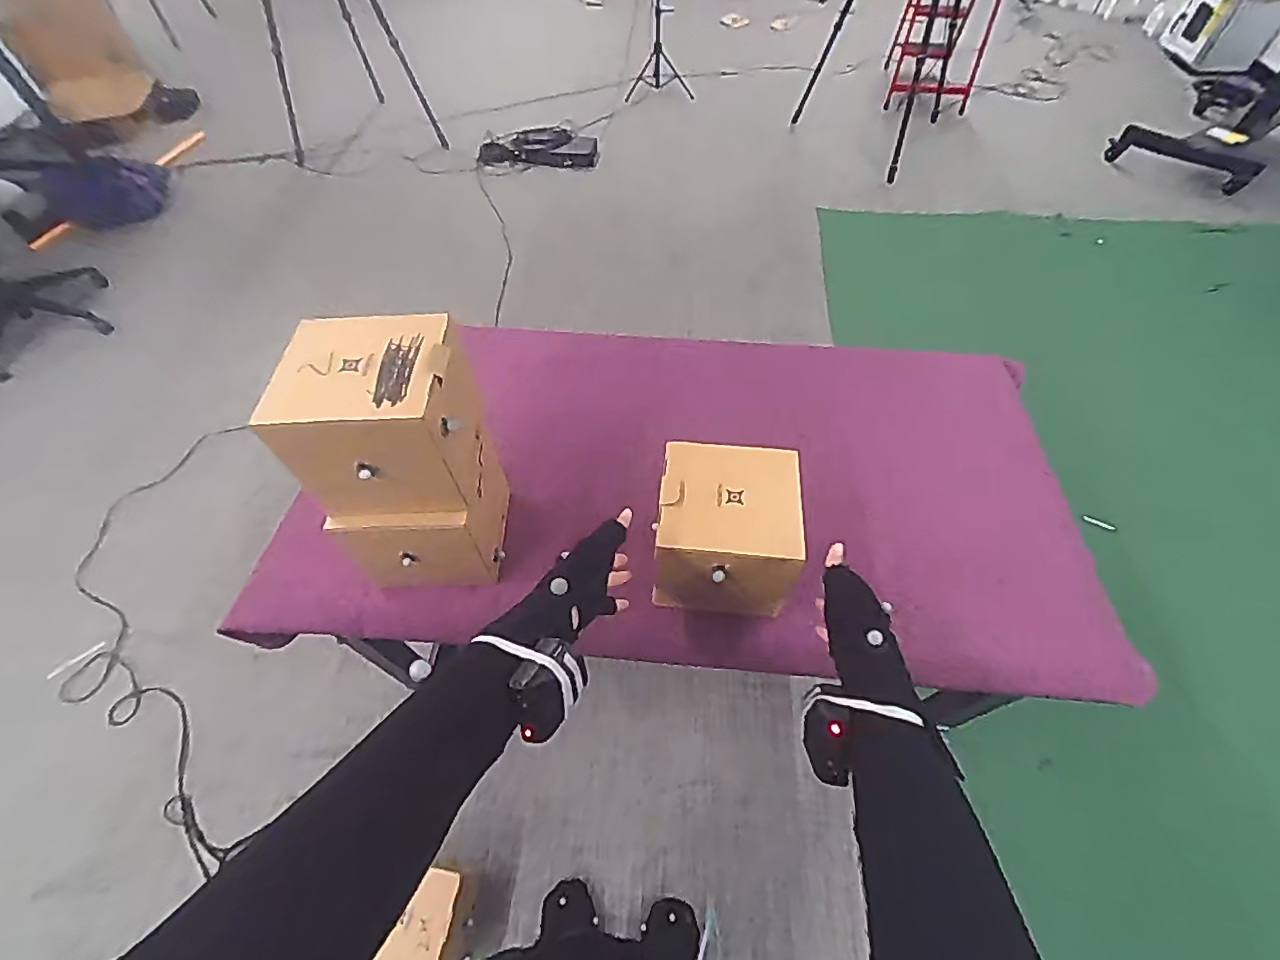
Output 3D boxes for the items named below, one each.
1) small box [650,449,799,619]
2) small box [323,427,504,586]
[{"bbox_3d":[0.110,0.079,0.745,0.179,0.176,0.168,5,54,5],"label":"small box"},{"bbox_3d":[-0.300,0.041,0.766,0.179,0.176,0.168,-1,54,0],"label":"small box"}]
